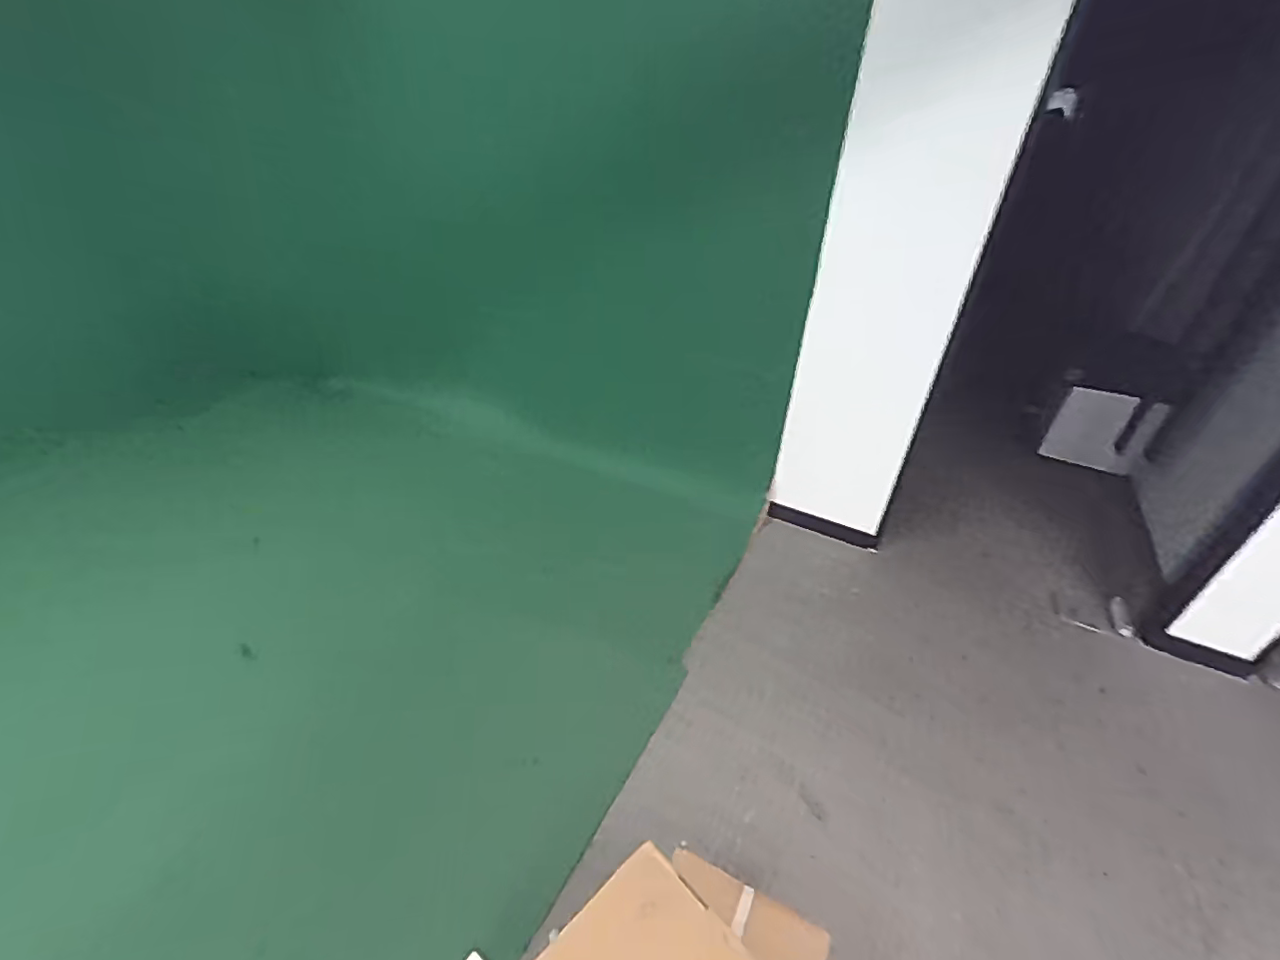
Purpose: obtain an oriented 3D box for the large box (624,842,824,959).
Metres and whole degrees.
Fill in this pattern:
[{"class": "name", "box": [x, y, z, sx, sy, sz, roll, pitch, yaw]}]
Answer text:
[{"class": "large box", "box": [0.112, 1.006, 0.993, 0.320, 0.320, 0.408, 19, 38, 22]}]
